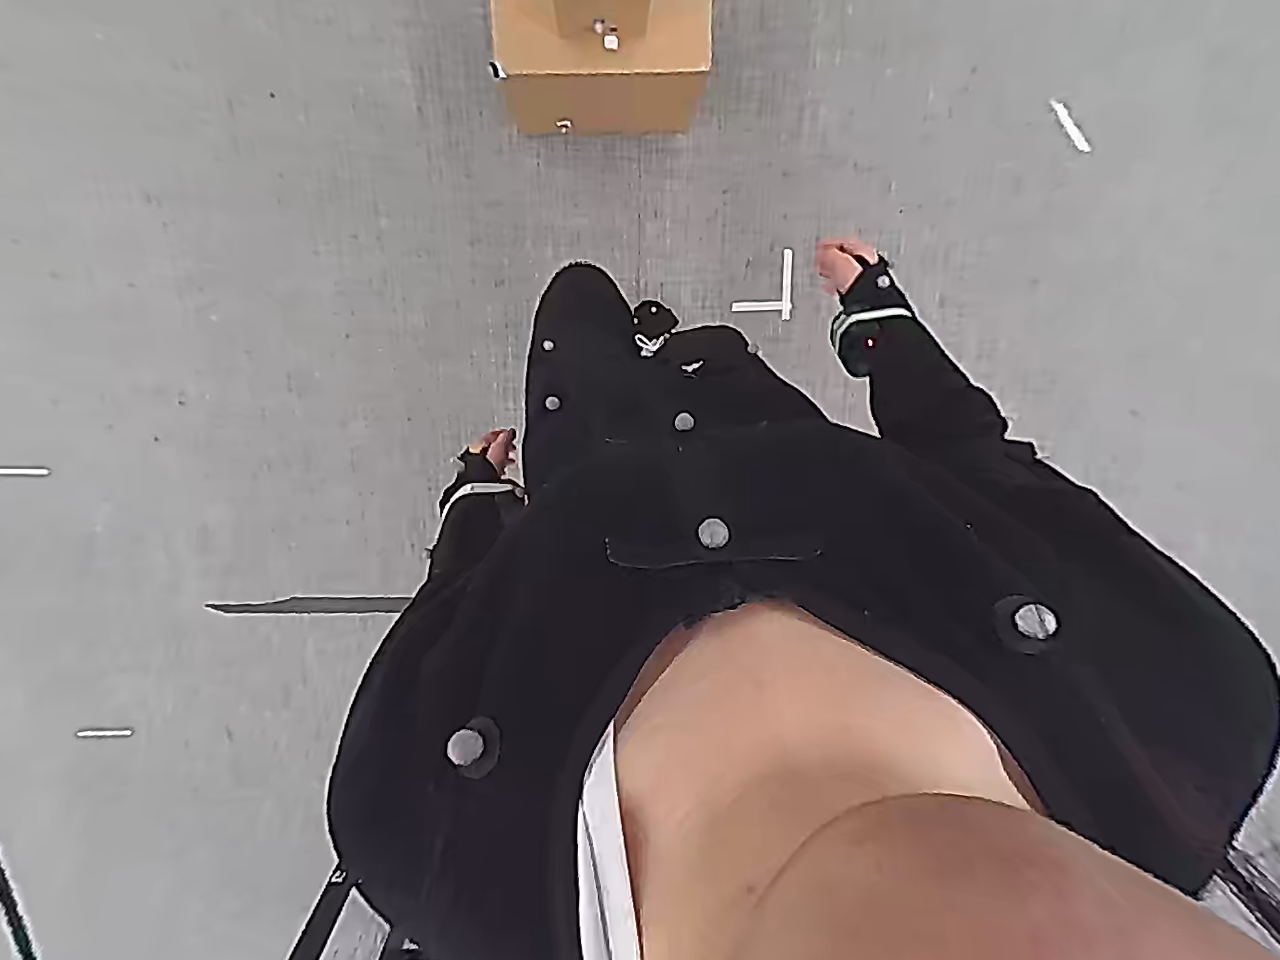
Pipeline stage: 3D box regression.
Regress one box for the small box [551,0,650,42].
[{"bbox_3d":[-0.070,-0.873,0.896,0.168,0.176,0.179,-3,105,-3],"label":"small box"}]
